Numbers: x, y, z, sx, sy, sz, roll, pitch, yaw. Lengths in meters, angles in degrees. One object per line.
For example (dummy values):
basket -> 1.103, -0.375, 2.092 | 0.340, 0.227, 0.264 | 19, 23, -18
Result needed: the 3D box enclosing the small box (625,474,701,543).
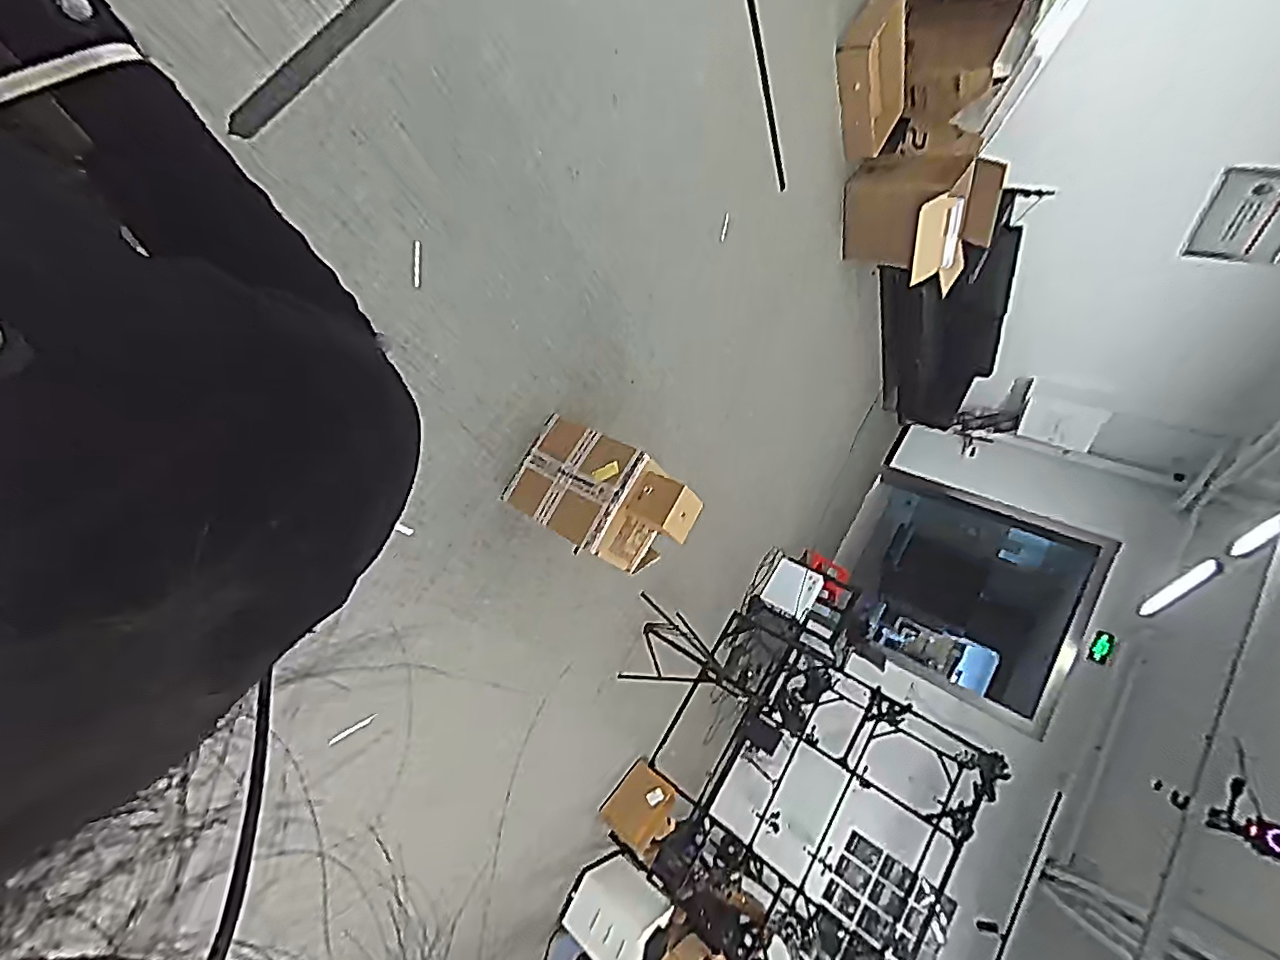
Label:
small box -> 0.082, 0.096, 1.899 | 0.168, 0.176, 0.179 | -61, 142, -10
